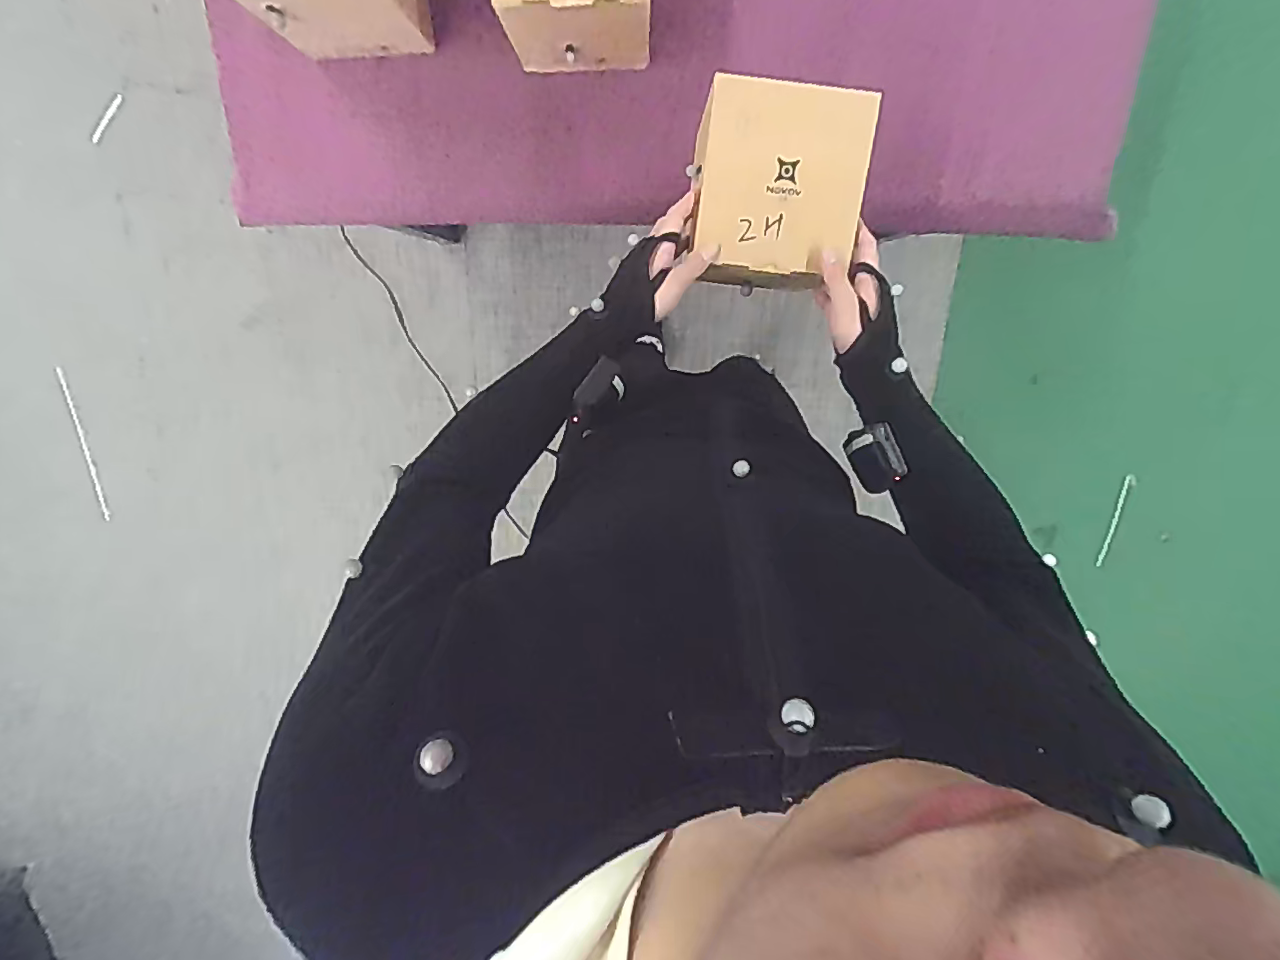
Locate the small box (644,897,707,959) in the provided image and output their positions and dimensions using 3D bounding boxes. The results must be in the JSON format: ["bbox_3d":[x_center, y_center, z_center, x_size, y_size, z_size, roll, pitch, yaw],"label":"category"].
[{"bbox_3d":[0.099,1.353,1.559,0.168,0.176,0.179,3,108,-2],"label":"small box"}]

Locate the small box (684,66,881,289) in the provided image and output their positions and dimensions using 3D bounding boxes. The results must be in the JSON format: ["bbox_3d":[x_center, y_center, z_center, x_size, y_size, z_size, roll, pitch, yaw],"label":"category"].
[{"bbox_3d":[0.146,-0.328,0.623,0.168,0.176,0.179,6,105,-1],"label":"small box"}]

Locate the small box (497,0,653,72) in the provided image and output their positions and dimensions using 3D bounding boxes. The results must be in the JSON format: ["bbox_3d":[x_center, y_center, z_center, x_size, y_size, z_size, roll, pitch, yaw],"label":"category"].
[{"bbox_3d":[-0.071,-0.599,0.611,0.168,0.176,0.179,-2,109,0],"label":"small box"}]
